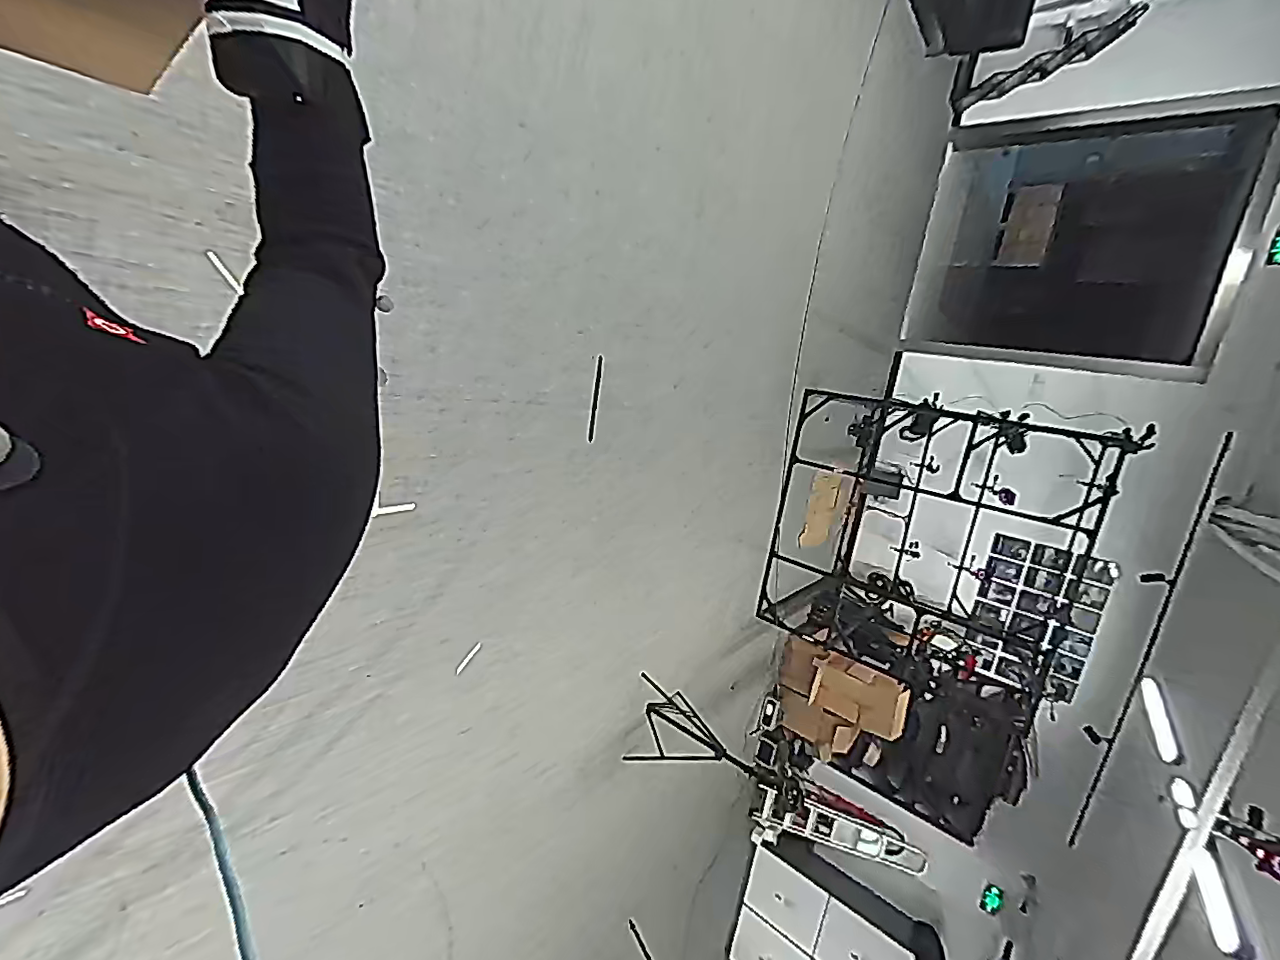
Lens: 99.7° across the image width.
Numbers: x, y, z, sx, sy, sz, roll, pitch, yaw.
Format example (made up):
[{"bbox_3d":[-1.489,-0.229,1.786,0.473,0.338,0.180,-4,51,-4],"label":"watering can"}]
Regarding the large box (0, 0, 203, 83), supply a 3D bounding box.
[{"bbox_3d":[-0.474,-0.473,0.242,0.408,0.320,0.320,-11,108,-51],"label":"large box"}]
